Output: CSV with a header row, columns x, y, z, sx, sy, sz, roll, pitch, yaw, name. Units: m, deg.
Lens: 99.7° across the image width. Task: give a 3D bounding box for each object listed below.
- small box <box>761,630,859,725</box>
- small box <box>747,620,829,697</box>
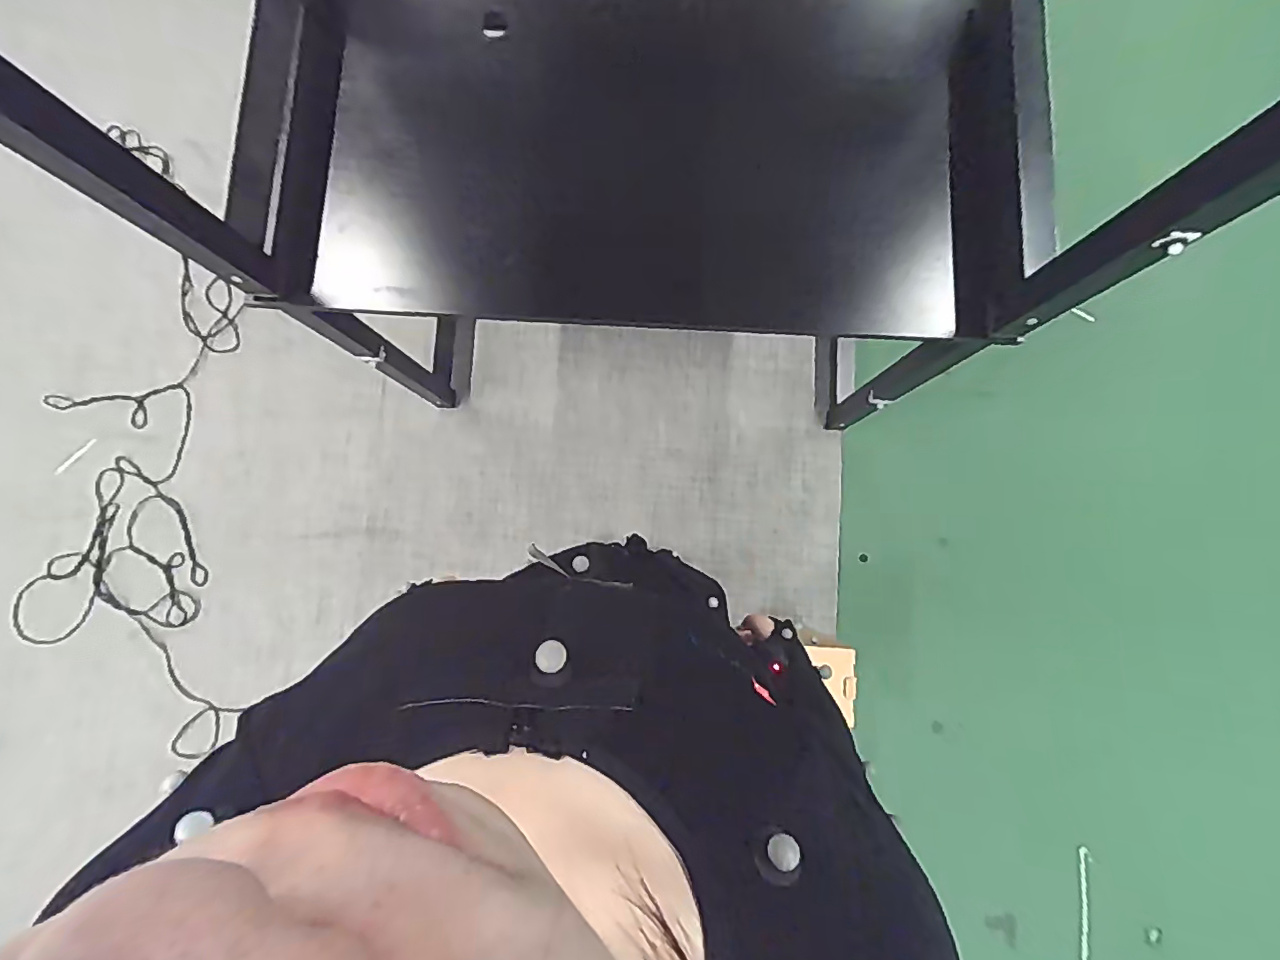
x,y,z,sx,sy,sz,roll,pitch,yaw,name
0.378,0.439,1.225,0.179,0.176,0.168,3,84,0,small box
0.373,0.457,1.387,0.179,0.176,0.168,2,84,1,small box
